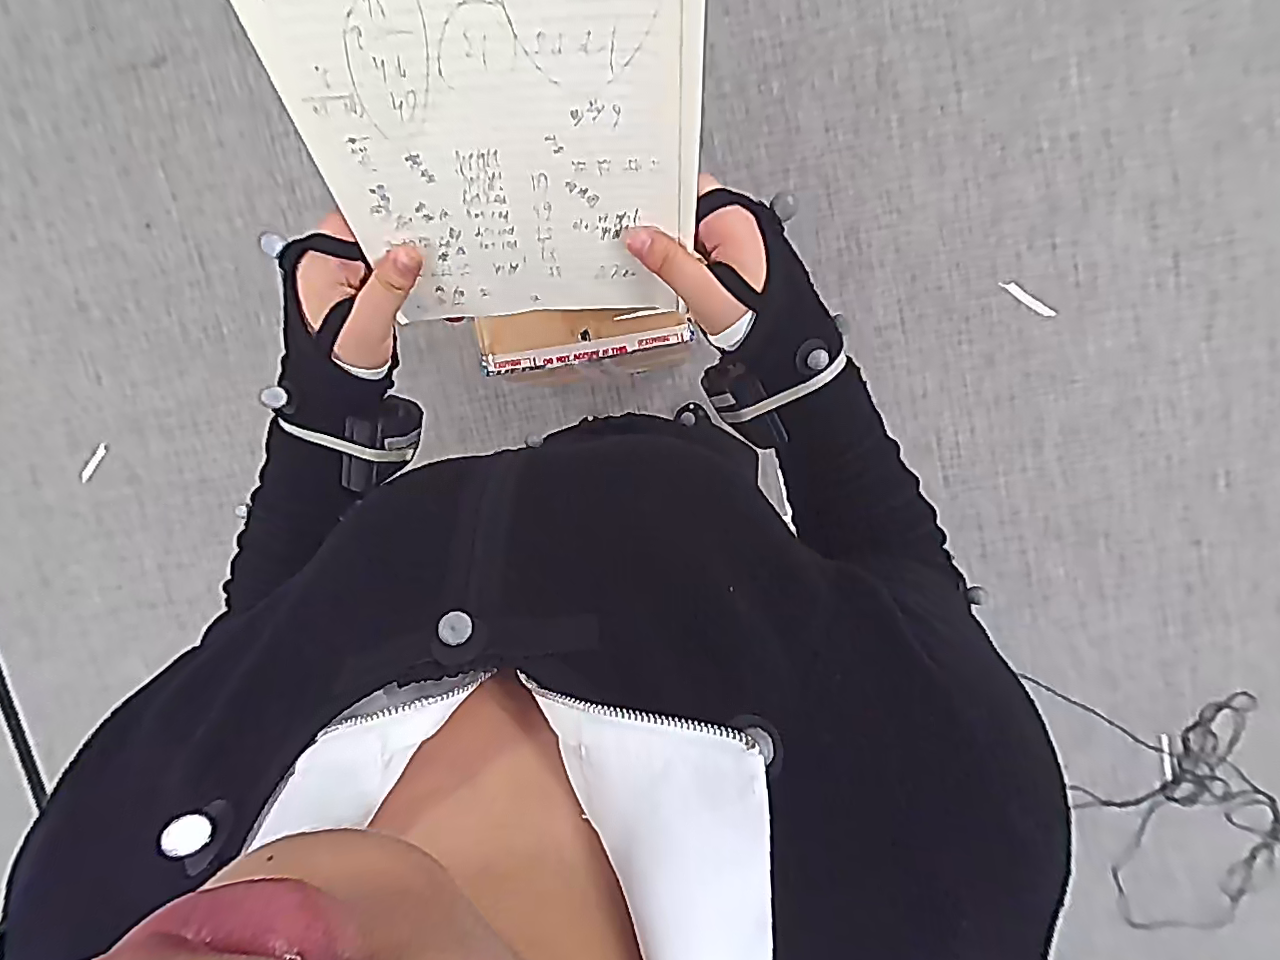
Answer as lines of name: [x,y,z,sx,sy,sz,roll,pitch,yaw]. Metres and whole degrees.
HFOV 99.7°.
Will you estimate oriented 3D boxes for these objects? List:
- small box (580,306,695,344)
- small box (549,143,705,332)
small box: [-0.018,-0.330,0.888,0.179,0.176,0.168,-13,97,2]
small box: [-0.016,-0.309,0.725,0.168,0.176,0.179,-10,98,1]
